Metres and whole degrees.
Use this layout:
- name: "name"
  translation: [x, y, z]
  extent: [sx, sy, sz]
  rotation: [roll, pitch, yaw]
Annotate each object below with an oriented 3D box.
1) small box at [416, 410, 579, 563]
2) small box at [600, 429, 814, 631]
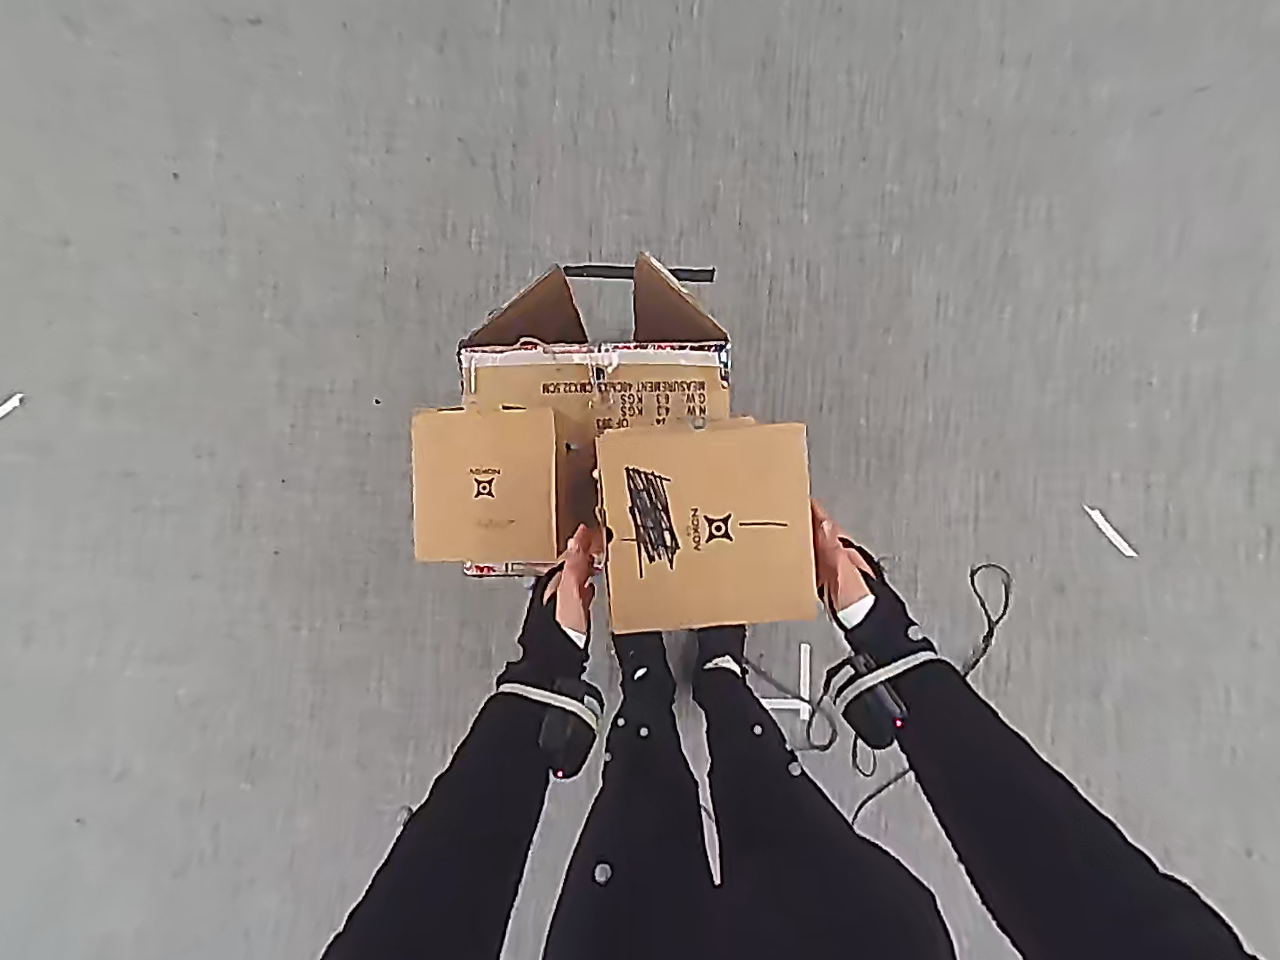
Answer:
- name: "small box"
  translation: [-0.173, 0.006, 0.701]
  extent: [0.168, 0.176, 0.179]
  rotation: [-1, 92, 2]
- name: "small box"
  translation: [0.056, 0.042, 0.537]
  extent: [0.179, 0.176, 0.168]
  rotation: [-4, 92, -2]
